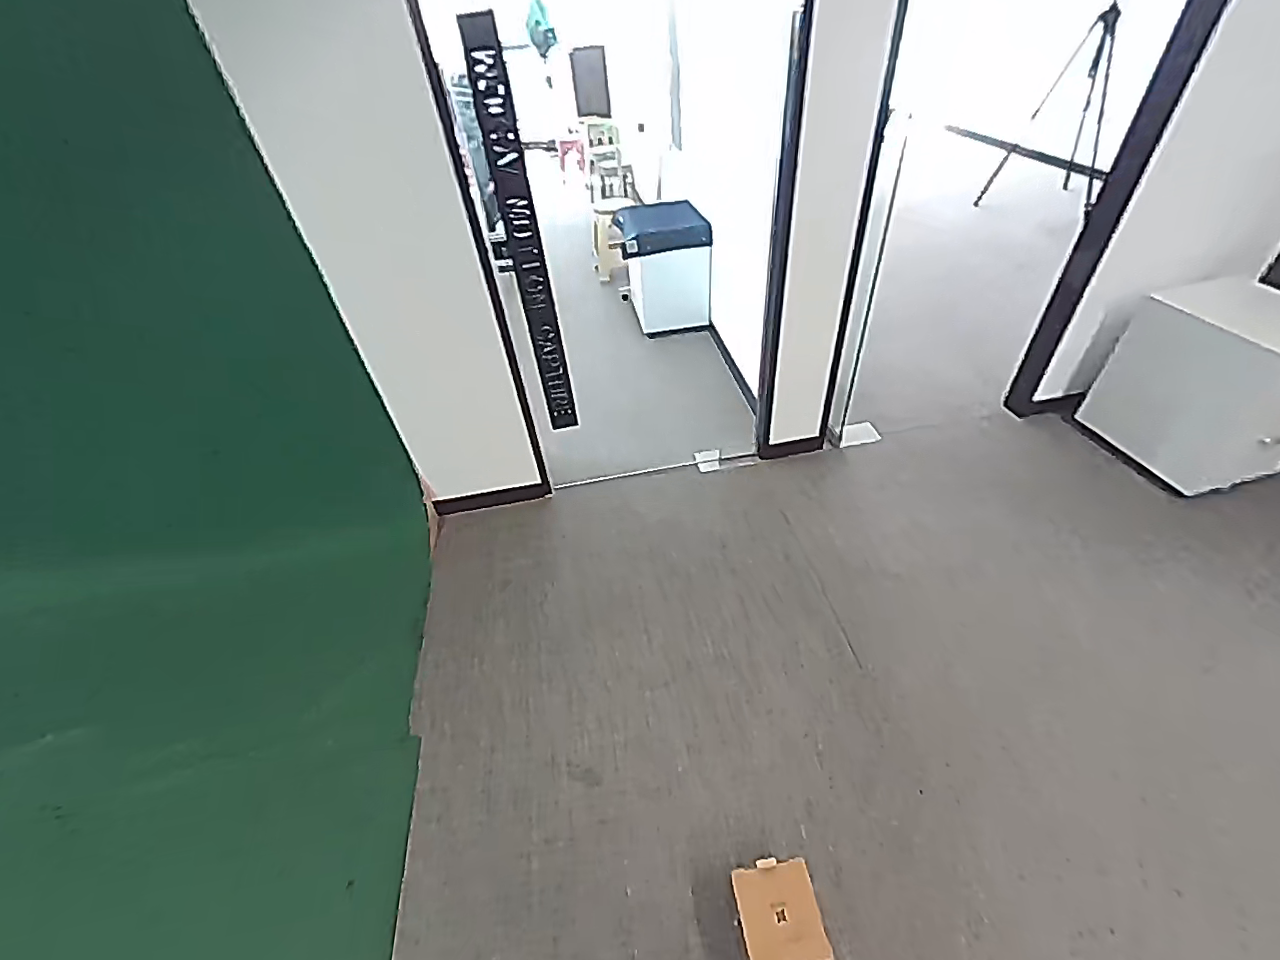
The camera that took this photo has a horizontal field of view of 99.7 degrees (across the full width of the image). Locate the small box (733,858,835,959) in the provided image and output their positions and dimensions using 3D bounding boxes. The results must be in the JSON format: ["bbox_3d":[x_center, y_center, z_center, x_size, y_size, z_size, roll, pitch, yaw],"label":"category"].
[{"bbox_3d":[0.296,0.939,1.151,0.168,0.176,0.179,-9,43,0],"label":"small box"}]
